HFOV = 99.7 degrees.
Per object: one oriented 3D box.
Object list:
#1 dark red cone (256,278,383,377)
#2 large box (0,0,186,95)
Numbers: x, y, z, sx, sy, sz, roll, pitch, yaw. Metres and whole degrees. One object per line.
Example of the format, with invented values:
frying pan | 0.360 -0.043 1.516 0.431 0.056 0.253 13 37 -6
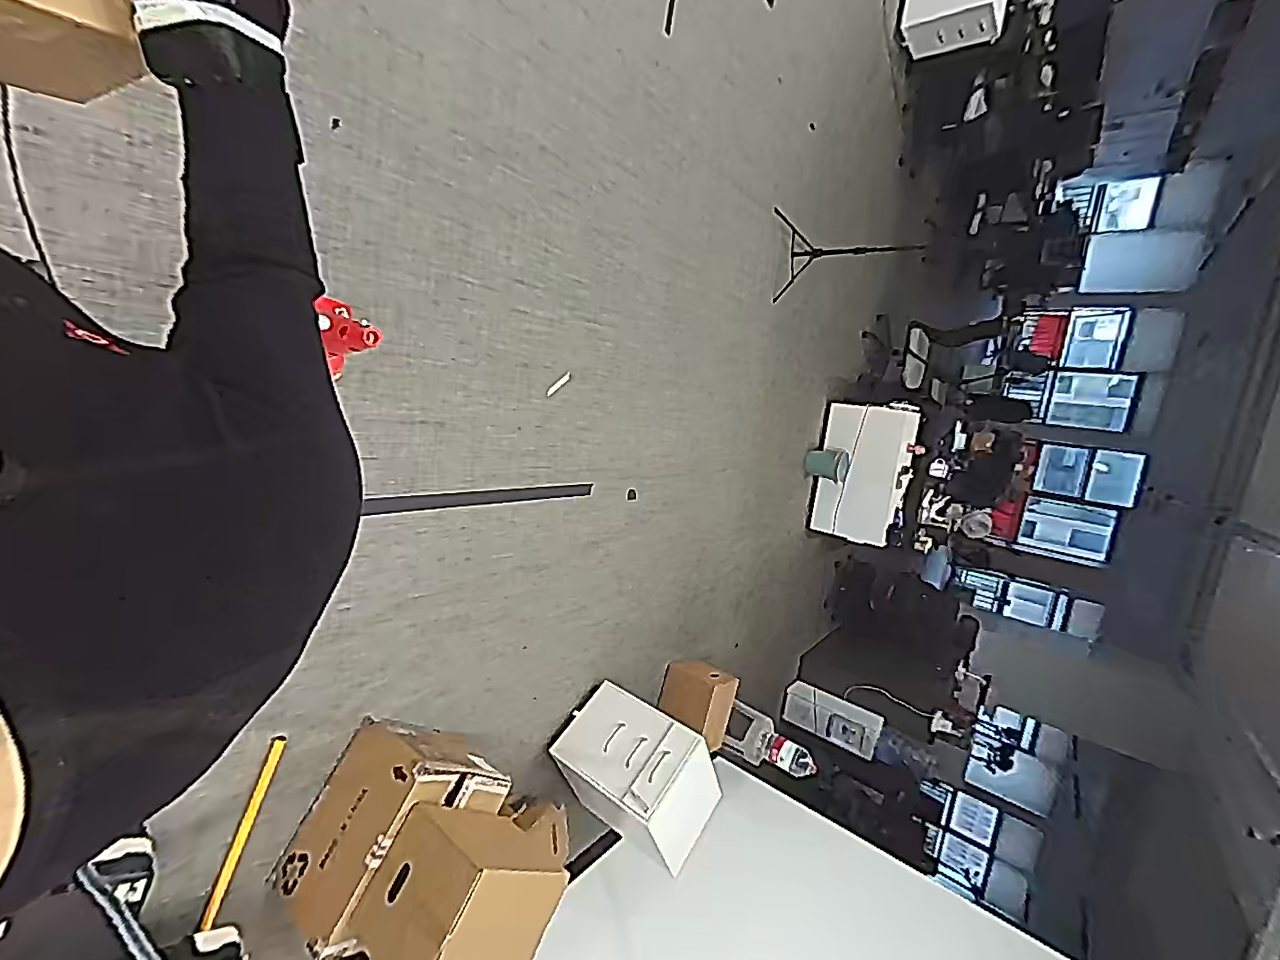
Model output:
dark red cone | -0.680 -0.328 1.205 0.201 0.394 0.202 6 96 -52
large box | -0.531 -0.444 0.252 0.408 0.320 0.320 -16 119 -52
